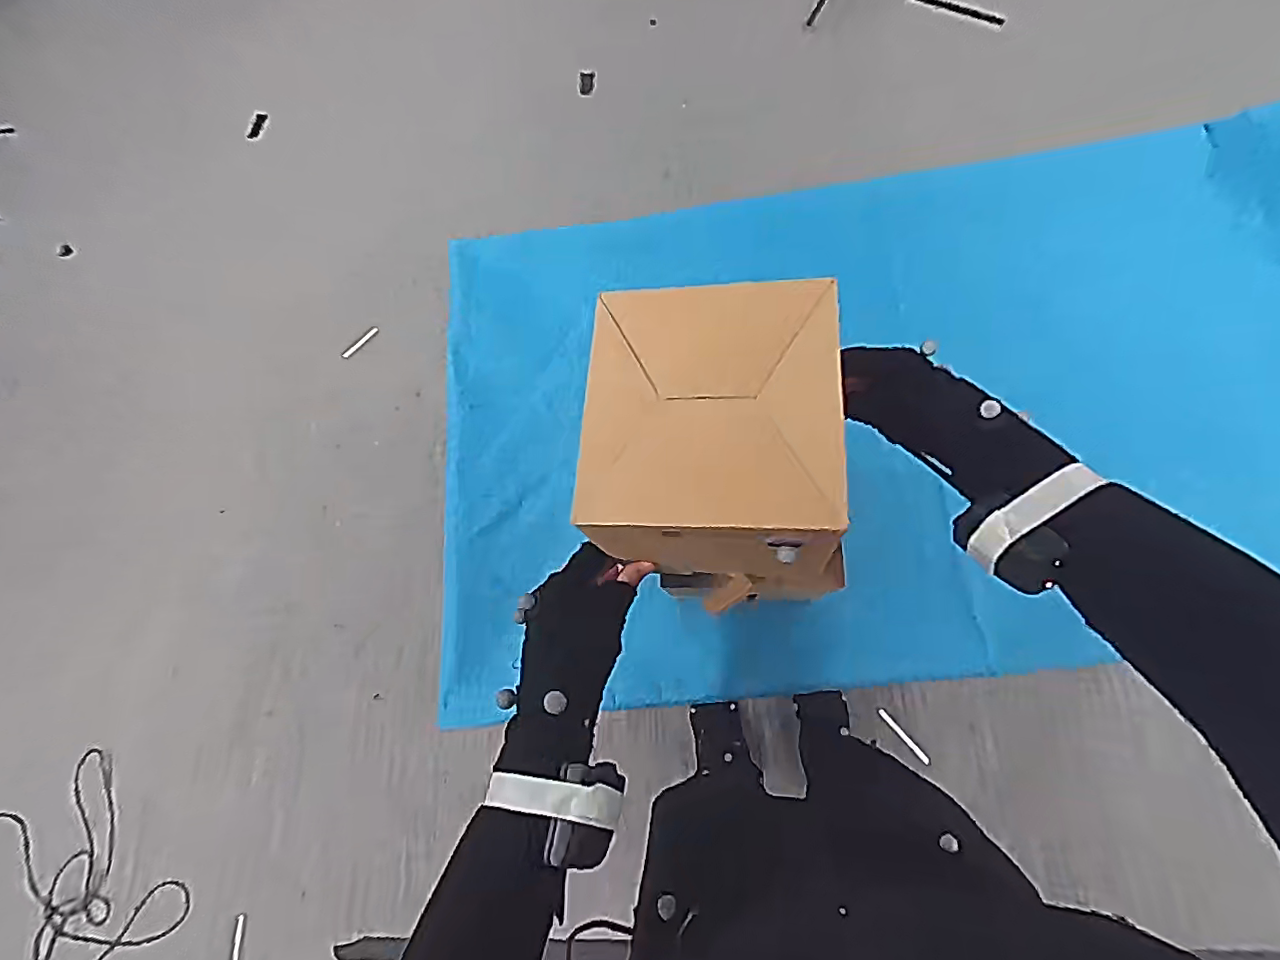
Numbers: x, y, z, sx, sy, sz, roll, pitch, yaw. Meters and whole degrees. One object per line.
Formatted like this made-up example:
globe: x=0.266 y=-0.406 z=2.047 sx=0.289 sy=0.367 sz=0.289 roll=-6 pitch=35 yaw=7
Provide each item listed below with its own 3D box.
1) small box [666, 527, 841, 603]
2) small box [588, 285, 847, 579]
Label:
small box: x=0.114 y=0.039 z=0.591 sx=0.168 sy=0.176 sz=0.179 roll=-2 pitch=74 yaw=7
small box: x=0.063 y=-0.024 z=0.429 sx=0.168 sy=0.176 sz=0.179 roll=0 pitch=71 yaw=12
